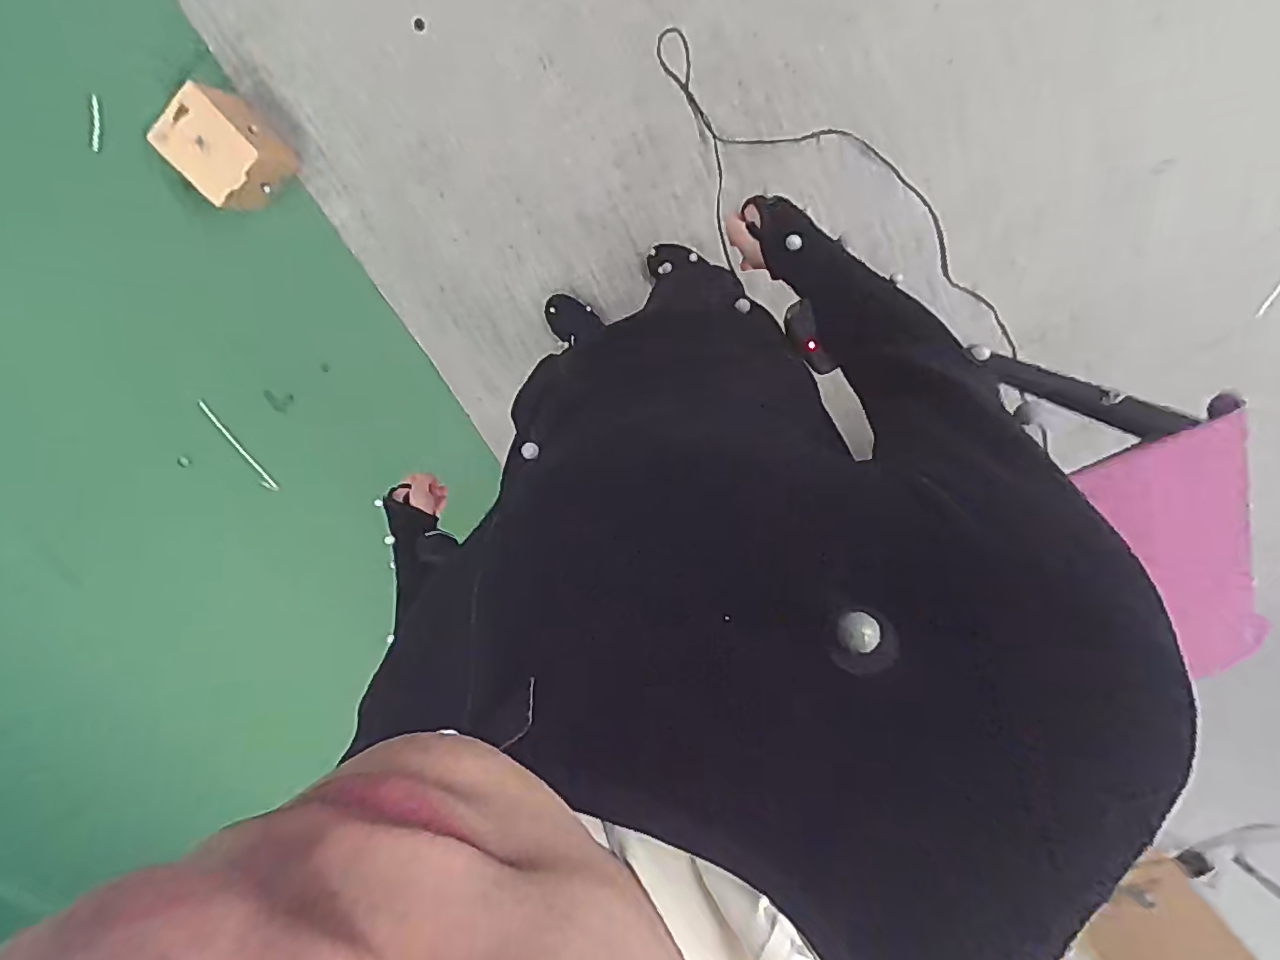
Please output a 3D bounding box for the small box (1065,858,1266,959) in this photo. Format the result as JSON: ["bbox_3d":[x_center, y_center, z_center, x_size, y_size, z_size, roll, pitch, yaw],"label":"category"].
[{"bbox_3d":[0.732,0.665,0.737,0.168,0.176,0.179,-27,111,11],"label":"small box"}]

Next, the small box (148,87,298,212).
[{"bbox_3d":[-0.936,-0.742,1.234,0.168,0.176,0.179,-37,111,14],"label":"small box"}]
